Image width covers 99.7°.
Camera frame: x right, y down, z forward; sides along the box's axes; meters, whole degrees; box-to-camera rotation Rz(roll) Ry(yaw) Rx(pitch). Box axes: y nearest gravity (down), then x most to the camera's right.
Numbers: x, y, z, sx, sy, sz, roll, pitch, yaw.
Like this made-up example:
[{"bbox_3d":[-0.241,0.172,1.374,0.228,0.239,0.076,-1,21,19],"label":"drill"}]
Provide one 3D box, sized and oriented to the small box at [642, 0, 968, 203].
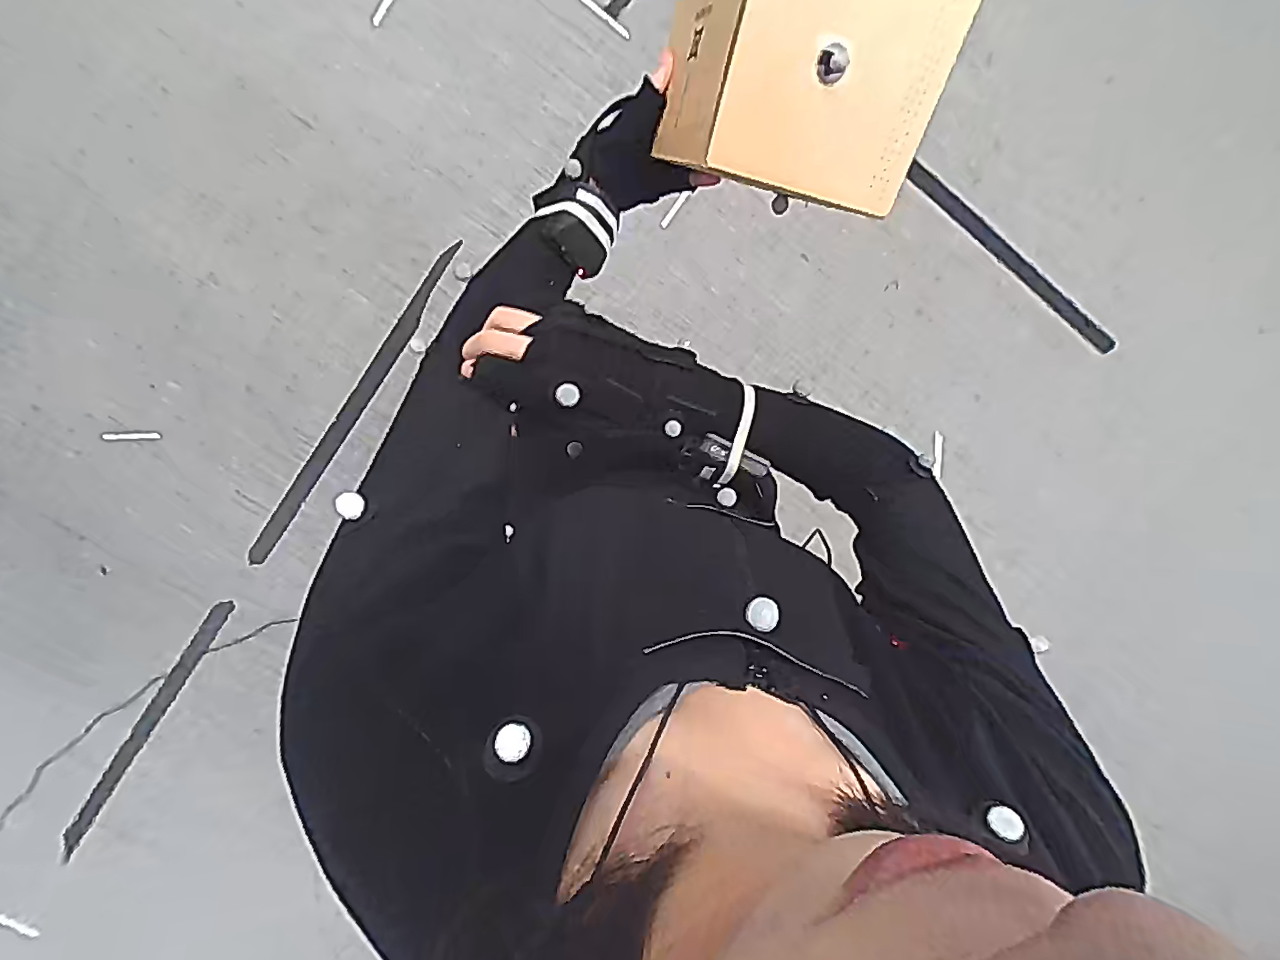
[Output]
[{"bbox_3d":[0.117,-0.335,0.418,0.176,0.168,0.179,4,121,-18],"label":"small box"}]
